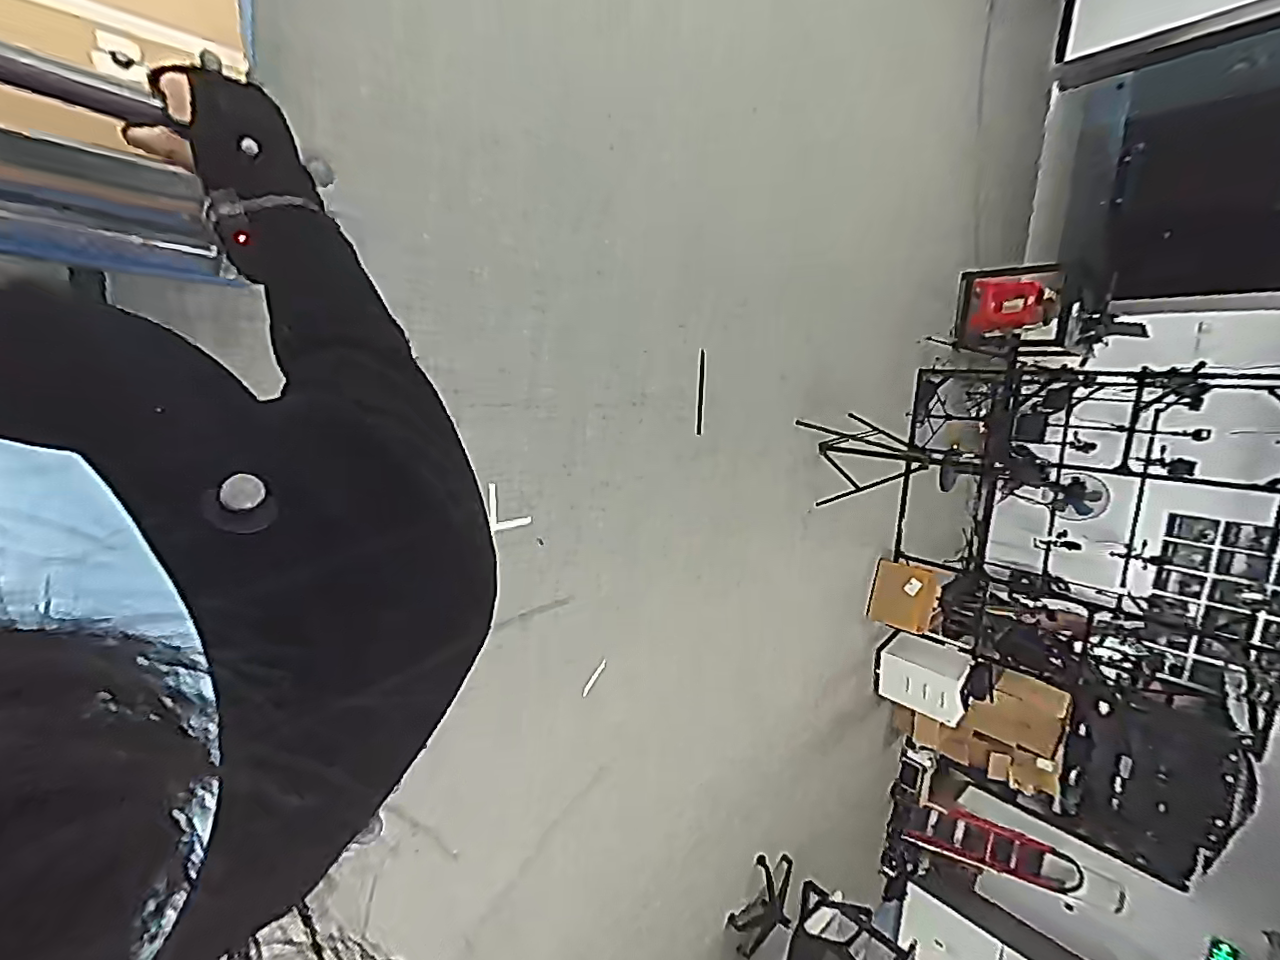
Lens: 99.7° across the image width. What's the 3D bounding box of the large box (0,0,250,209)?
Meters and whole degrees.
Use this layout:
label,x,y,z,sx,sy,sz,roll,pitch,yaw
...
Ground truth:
label,x,y,z,sx,sy,sz,roll,pitch,yaw
large box,-0.831,-0.610,0.750,0.408,0.320,0.320,-9,106,-45
